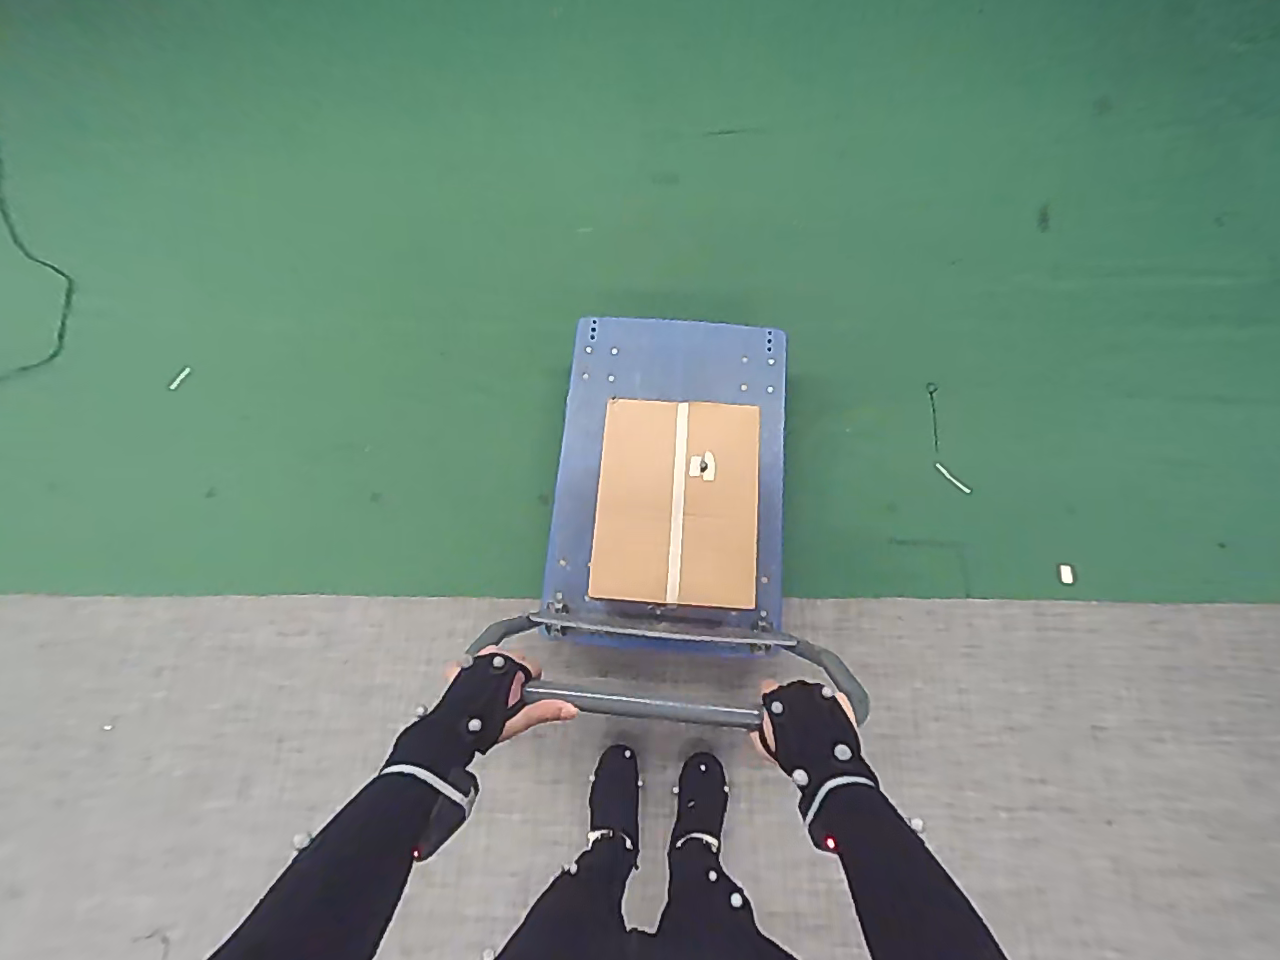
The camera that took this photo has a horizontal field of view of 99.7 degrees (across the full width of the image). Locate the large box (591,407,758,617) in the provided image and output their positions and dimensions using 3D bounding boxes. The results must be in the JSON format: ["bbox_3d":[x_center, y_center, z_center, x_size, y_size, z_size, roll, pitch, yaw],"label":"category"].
[{"bbox_3d":[0.080,0.088,1.199,0.320,0.320,0.408,4,74,3],"label":"large box"}]
